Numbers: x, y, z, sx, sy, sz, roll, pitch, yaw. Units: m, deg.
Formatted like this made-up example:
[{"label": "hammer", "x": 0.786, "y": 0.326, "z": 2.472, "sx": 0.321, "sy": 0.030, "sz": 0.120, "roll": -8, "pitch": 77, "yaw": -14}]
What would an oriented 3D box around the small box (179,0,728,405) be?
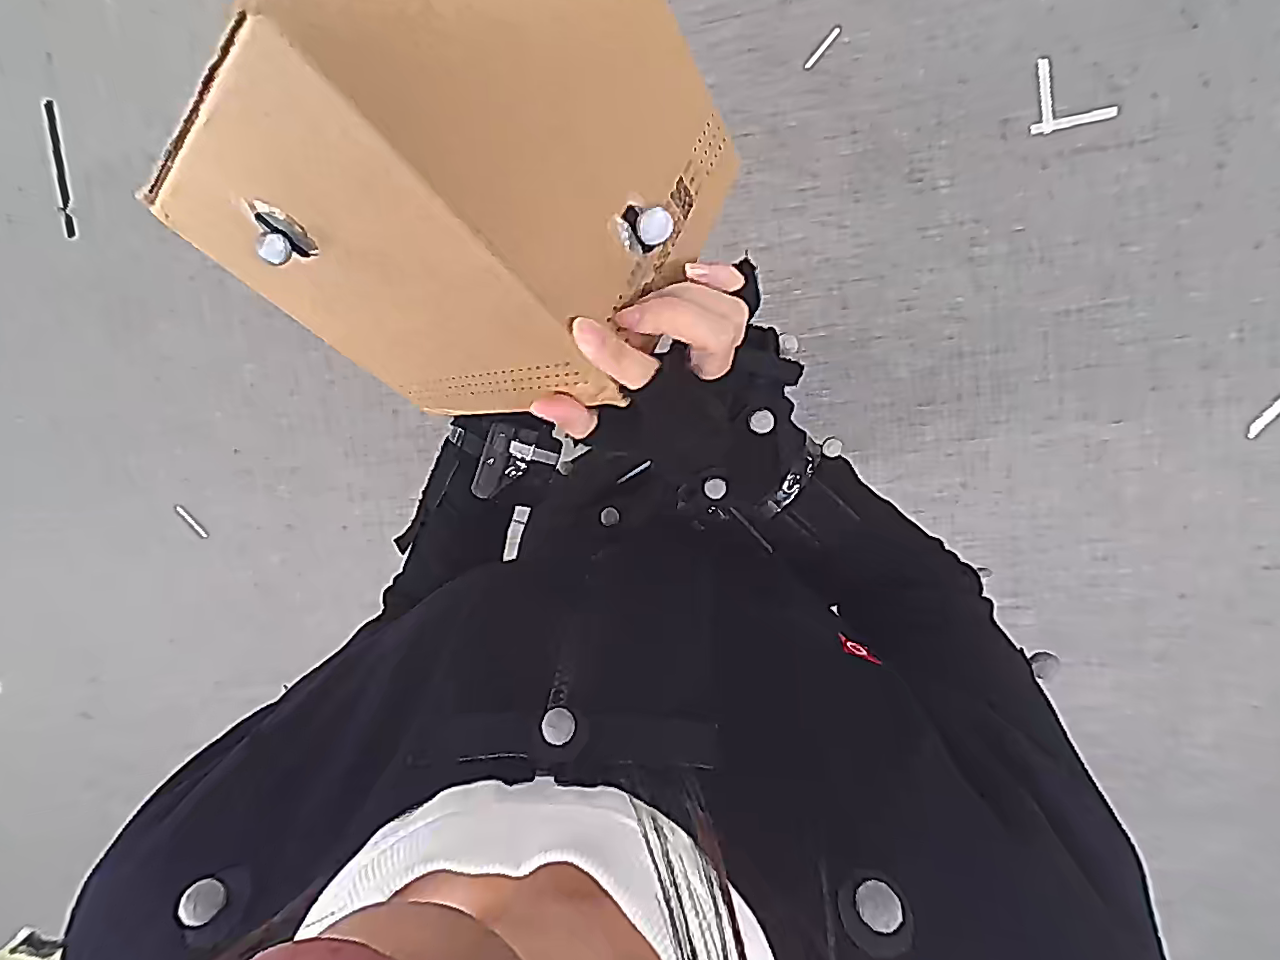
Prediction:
[{"label": "small box", "x": -0.082, "y": -0.152, "z": 0.285, "sx": 0.179, "sy": 0.176, "sz": 0.168, "roll": 3, "pitch": 64, "yaw": 40}]
